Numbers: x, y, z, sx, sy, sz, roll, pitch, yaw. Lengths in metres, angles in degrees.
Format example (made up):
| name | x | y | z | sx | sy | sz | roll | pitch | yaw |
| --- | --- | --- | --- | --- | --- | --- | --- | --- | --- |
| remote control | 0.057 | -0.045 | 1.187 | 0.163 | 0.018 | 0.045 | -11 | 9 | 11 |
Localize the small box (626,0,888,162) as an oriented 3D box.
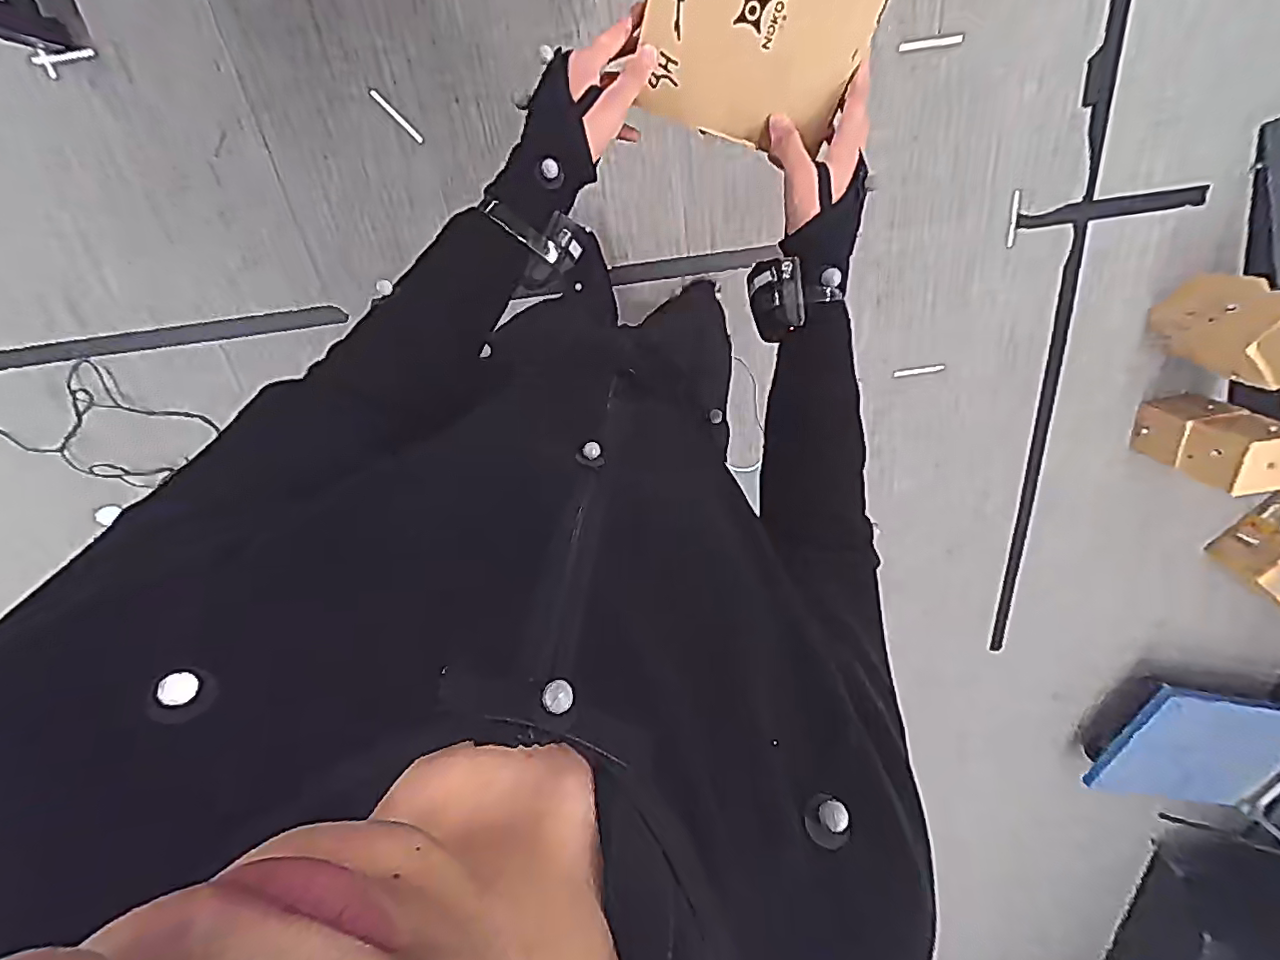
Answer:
| name | x | y | z | sx | sy | sz | roll | pitch | yaw |
| --- | --- | --- | --- | --- | --- | --- | --- | --- | --- |
| small box | 0.093 | -0.407 | 0.465 | 0.179 | 0.176 | 0.168 | 12 | 131 | -11 |
